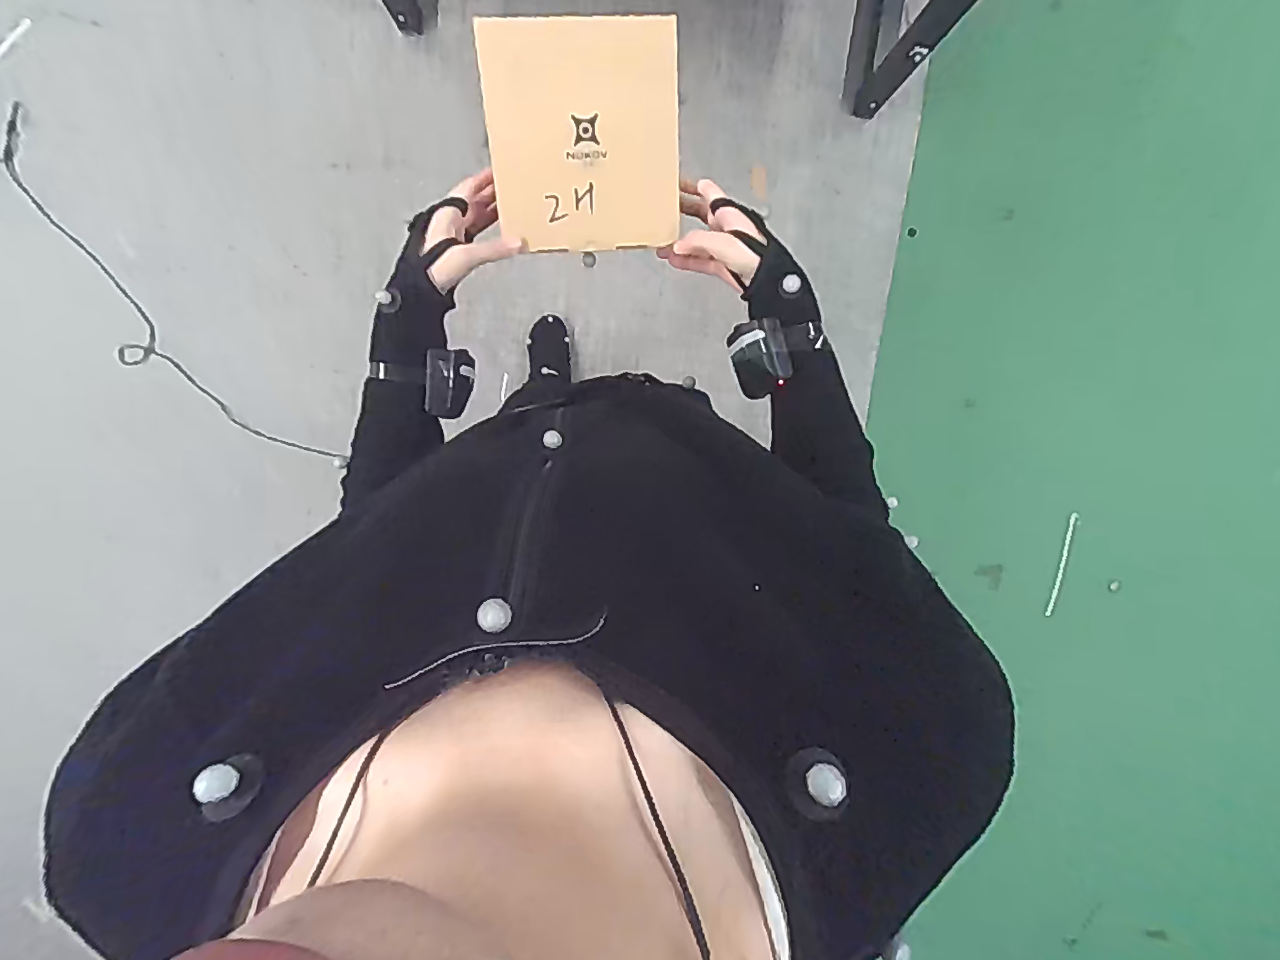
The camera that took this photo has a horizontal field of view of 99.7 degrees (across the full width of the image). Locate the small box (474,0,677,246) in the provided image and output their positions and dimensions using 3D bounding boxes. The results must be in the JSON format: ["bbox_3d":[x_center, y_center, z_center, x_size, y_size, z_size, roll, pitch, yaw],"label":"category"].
[{"bbox_3d":[-0.059,-0.329,0.534,0.168,0.176,0.179,-4,113,-5],"label":"small box"}]
